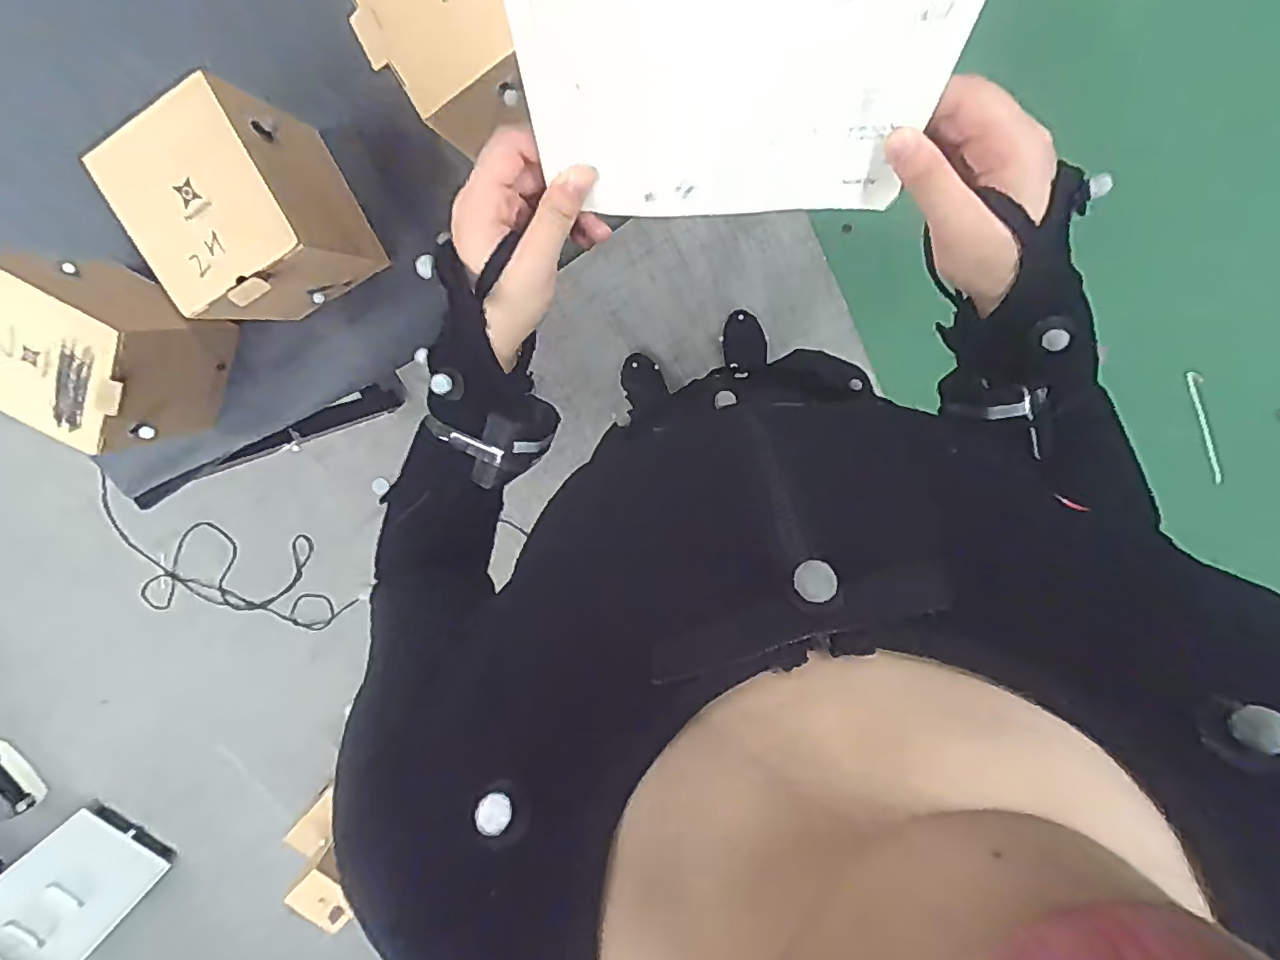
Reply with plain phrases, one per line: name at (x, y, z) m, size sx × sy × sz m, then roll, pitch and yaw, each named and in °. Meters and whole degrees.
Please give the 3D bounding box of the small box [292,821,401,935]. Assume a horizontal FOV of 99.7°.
small box at (-0.823, 1.123, 1.537) m, size 0.179 × 0.176 × 0.168 m, roll 42°, pitch 104°, yaw -7°

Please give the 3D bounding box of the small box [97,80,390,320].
small box at (-0.436, -0.298, 0.626) m, size 0.168 × 0.176 × 0.179 m, roll -24°, pitch 102°, yaw 13°

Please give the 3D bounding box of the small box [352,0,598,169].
small box at (-0.157, -0.459, 0.550) m, size 0.179 × 0.176 × 0.168 m, roll -28°, pitch 101°, yaw 14°
